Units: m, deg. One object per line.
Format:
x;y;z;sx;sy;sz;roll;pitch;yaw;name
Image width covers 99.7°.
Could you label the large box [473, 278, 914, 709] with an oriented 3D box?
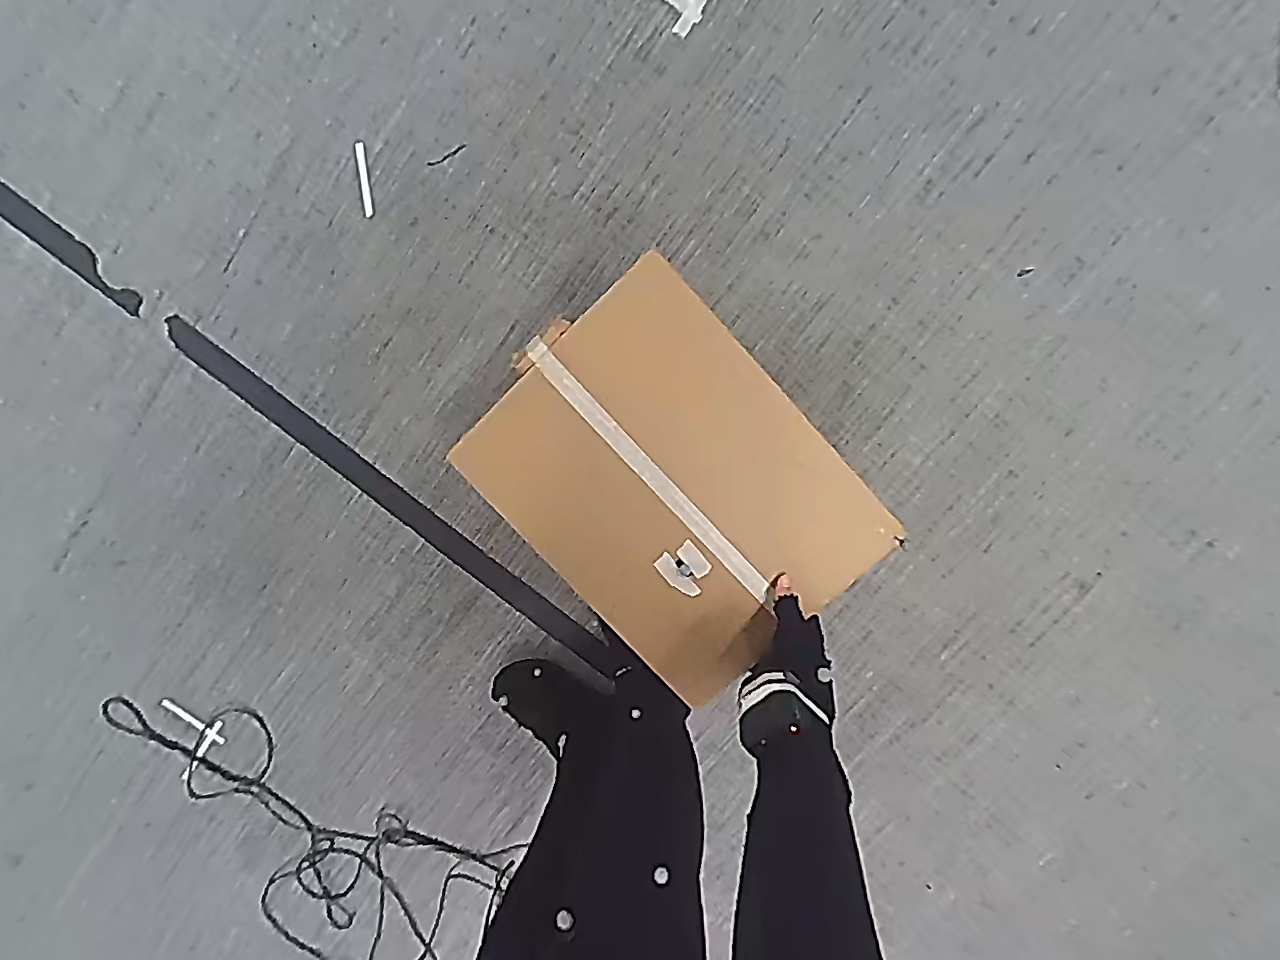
0.062;0.004;0.741;0.320;0.320;0.408;-42;96;9;large box
